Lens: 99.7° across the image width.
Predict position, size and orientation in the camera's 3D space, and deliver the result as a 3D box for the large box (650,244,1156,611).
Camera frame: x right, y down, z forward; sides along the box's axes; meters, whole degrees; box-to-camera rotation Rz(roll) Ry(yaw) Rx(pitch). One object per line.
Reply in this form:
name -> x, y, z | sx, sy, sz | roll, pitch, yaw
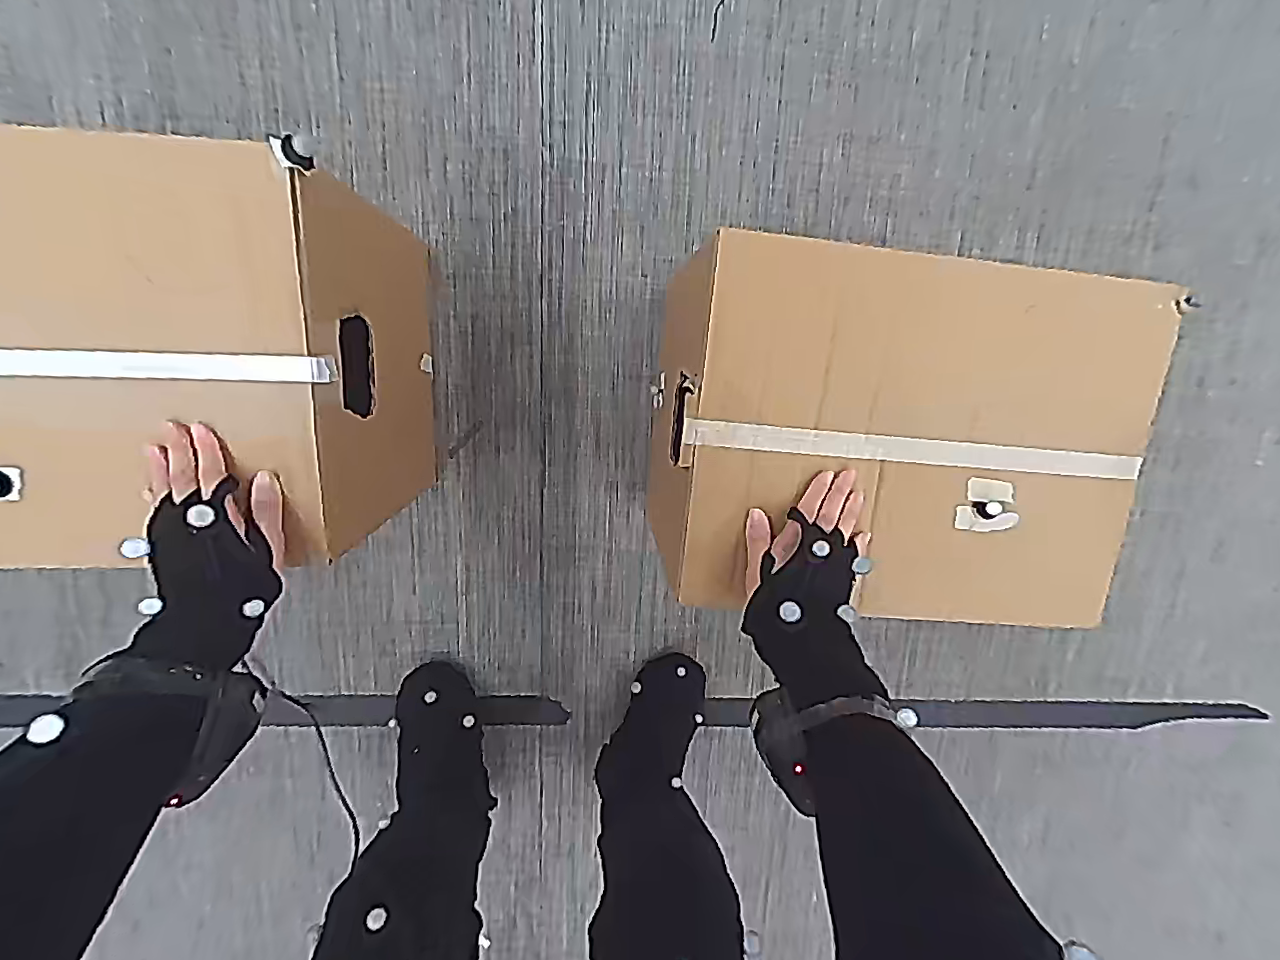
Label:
large box -> 0.234, -0.059, 0.629 | 0.408, 0.320, 0.320 | 4, 102, -7
